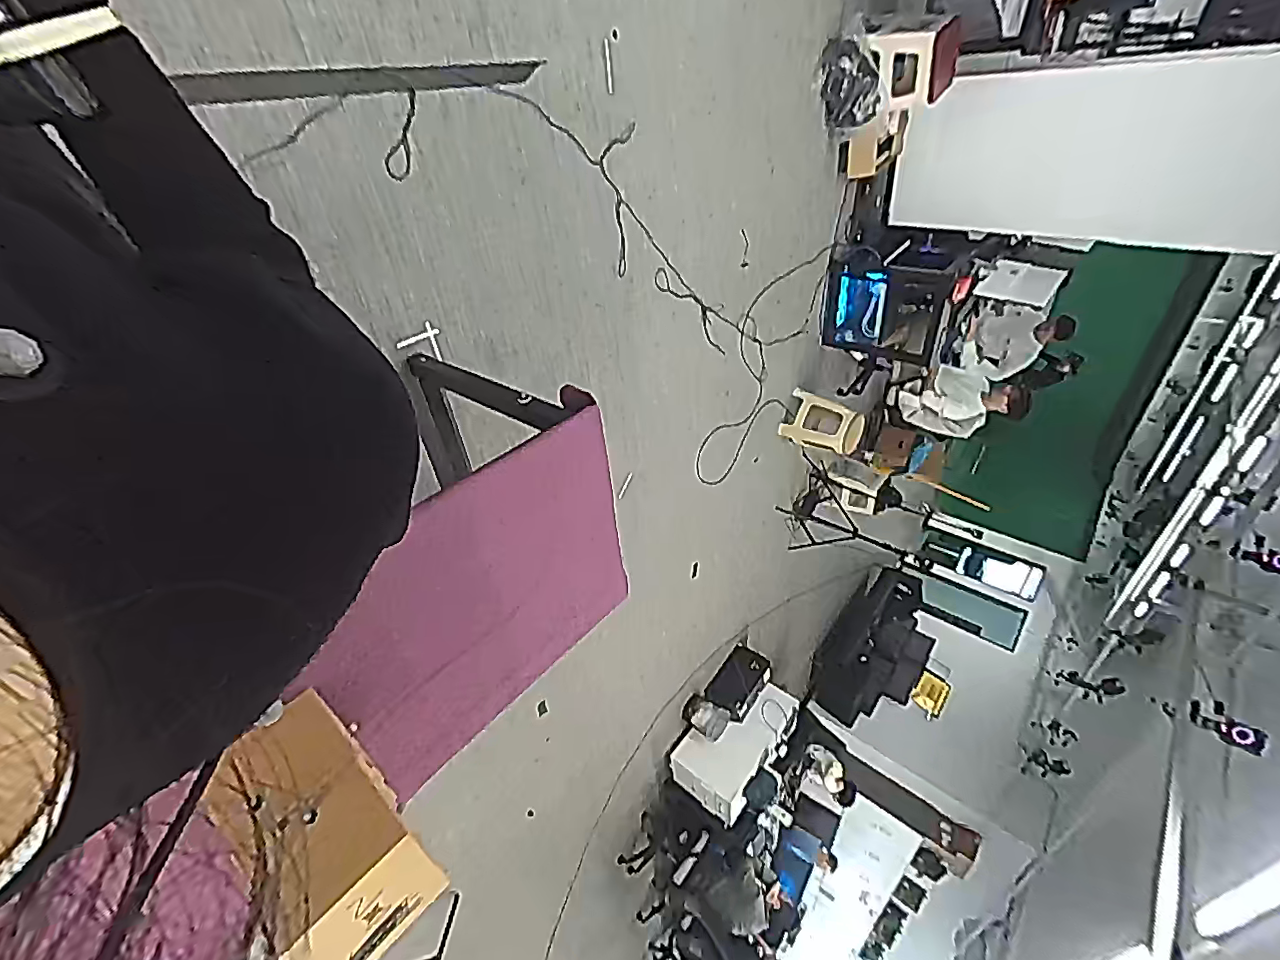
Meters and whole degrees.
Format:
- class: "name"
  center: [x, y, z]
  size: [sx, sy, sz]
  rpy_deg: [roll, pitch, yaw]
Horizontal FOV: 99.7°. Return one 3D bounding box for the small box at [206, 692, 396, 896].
- class: "small box"
  center: [-0.520, 0.471, 0.829]
  size: [0.179, 0.176, 0.168]
  rpy_deg: [-39, 138, -34]
